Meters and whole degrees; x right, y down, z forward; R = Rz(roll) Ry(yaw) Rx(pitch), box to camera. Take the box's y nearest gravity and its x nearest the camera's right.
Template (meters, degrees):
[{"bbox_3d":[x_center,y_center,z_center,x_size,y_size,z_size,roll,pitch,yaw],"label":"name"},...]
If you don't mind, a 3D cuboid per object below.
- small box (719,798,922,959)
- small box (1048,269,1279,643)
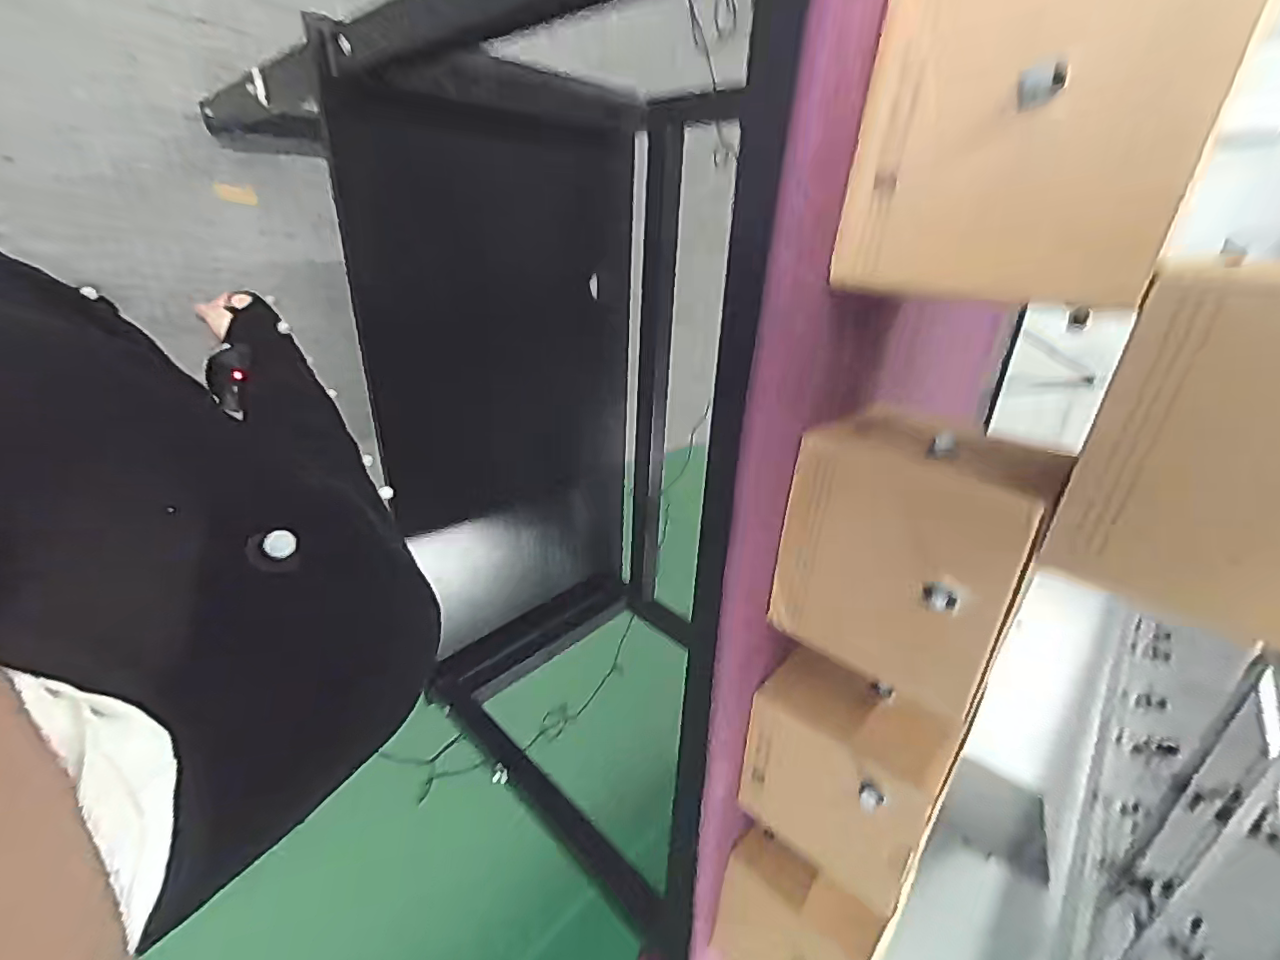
[{"bbox_3d":[0.216,0.536,0.668,0.168,0.176,0.179,-16,119,-43],"label":"small box"},{"bbox_3d":[0.359,-0.019,0.298,0.168,0.176,0.179,-23,126,-42],"label":"small box"}]
